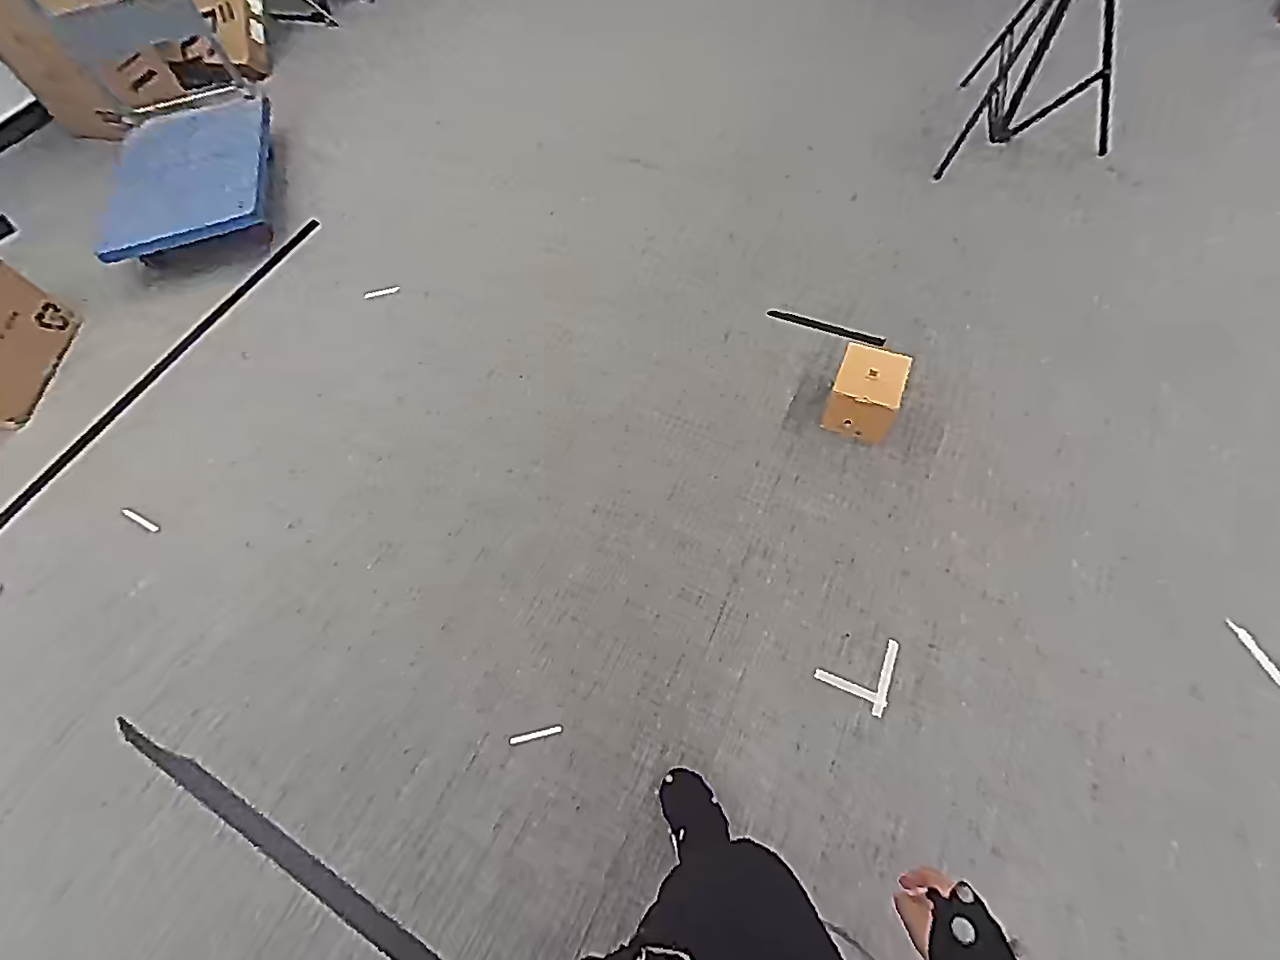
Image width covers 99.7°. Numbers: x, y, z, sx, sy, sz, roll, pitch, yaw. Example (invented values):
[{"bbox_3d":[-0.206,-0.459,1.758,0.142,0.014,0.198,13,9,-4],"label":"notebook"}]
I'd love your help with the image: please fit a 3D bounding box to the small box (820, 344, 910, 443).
[{"bbox_3d":[0.602,-0.230,1.463,0.168,0.176,0.179,19,67,15],"label":"small box"}]
